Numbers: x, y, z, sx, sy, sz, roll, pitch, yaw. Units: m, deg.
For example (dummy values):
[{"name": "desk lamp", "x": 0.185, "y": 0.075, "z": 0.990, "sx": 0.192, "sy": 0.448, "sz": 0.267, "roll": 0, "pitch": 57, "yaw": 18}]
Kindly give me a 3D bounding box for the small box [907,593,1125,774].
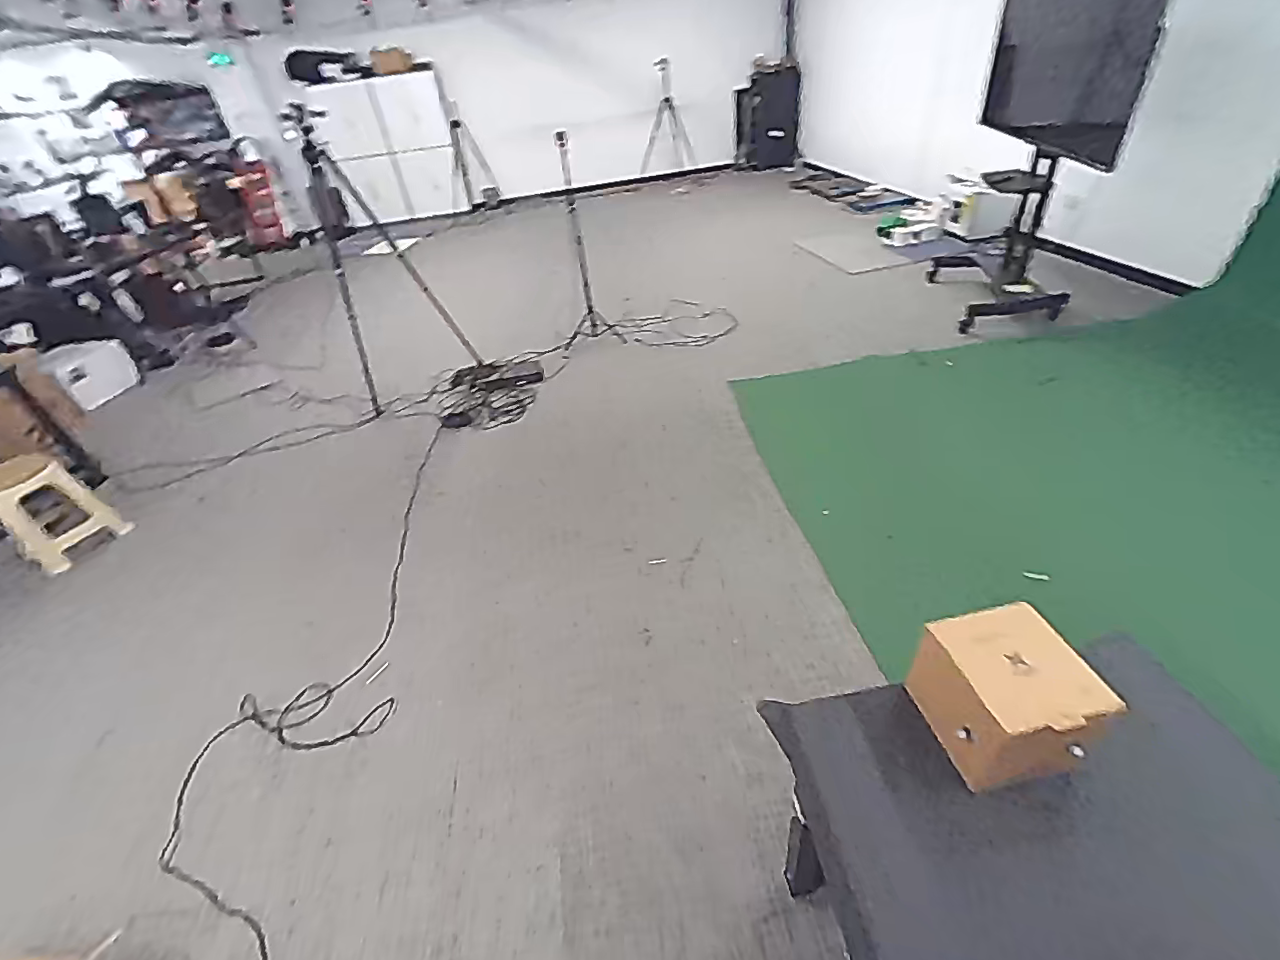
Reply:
[{"name": "small box", "x": 0.520, "y": 0.297, "z": 0.780, "sx": 0.168, "sy": 0.176, "sz": 0.179, "roll": -11, "pitch": 37, "yaw": -5}]
